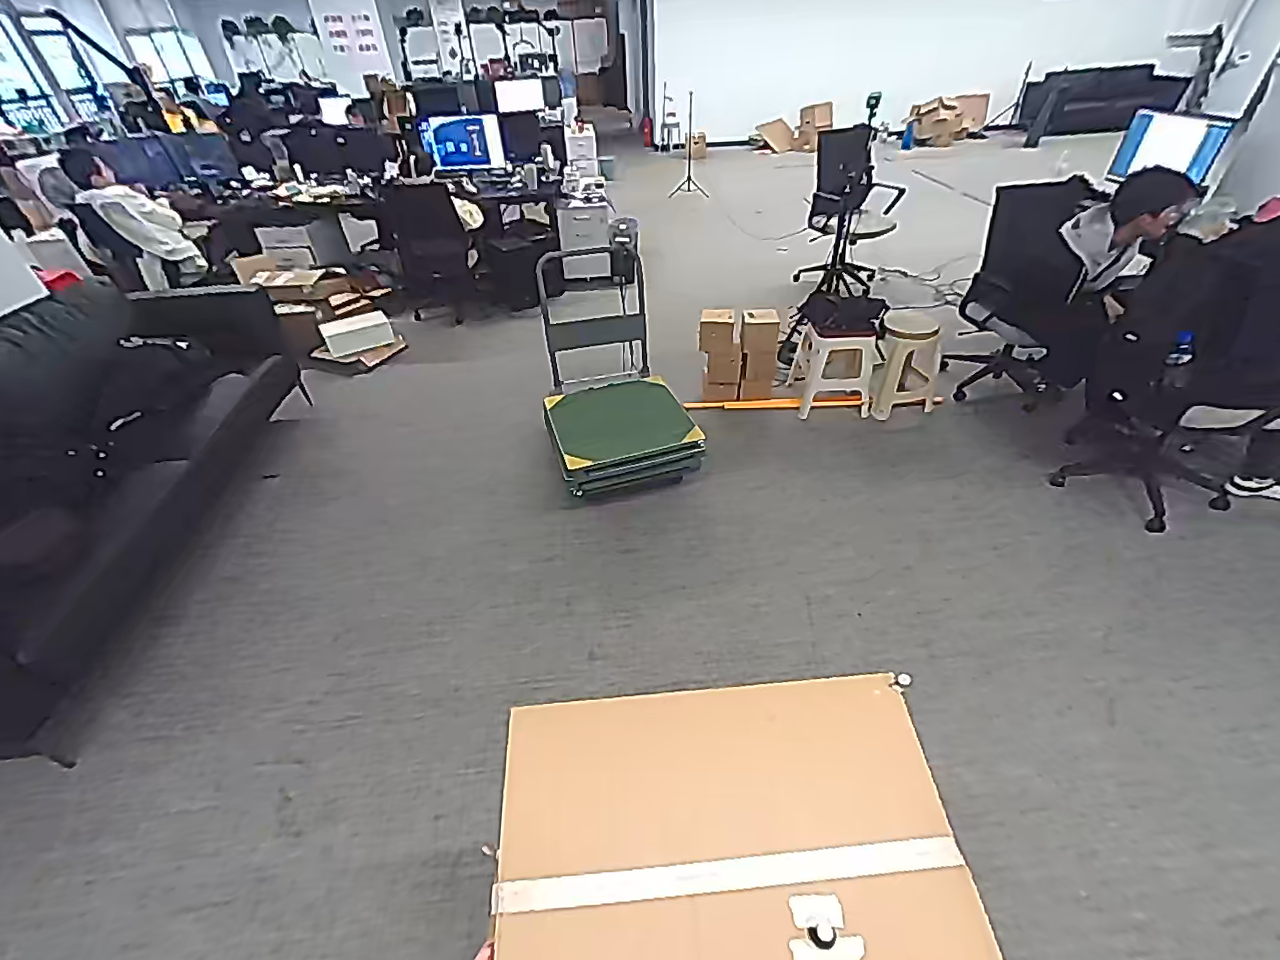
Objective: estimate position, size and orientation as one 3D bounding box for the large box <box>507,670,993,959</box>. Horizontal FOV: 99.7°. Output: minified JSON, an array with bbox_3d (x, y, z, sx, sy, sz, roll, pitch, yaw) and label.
[{"bbox_3d":[0.085,0.435,0.597,0.408,0.320,0.320,-5,53,-2],"label":"large box"}]
